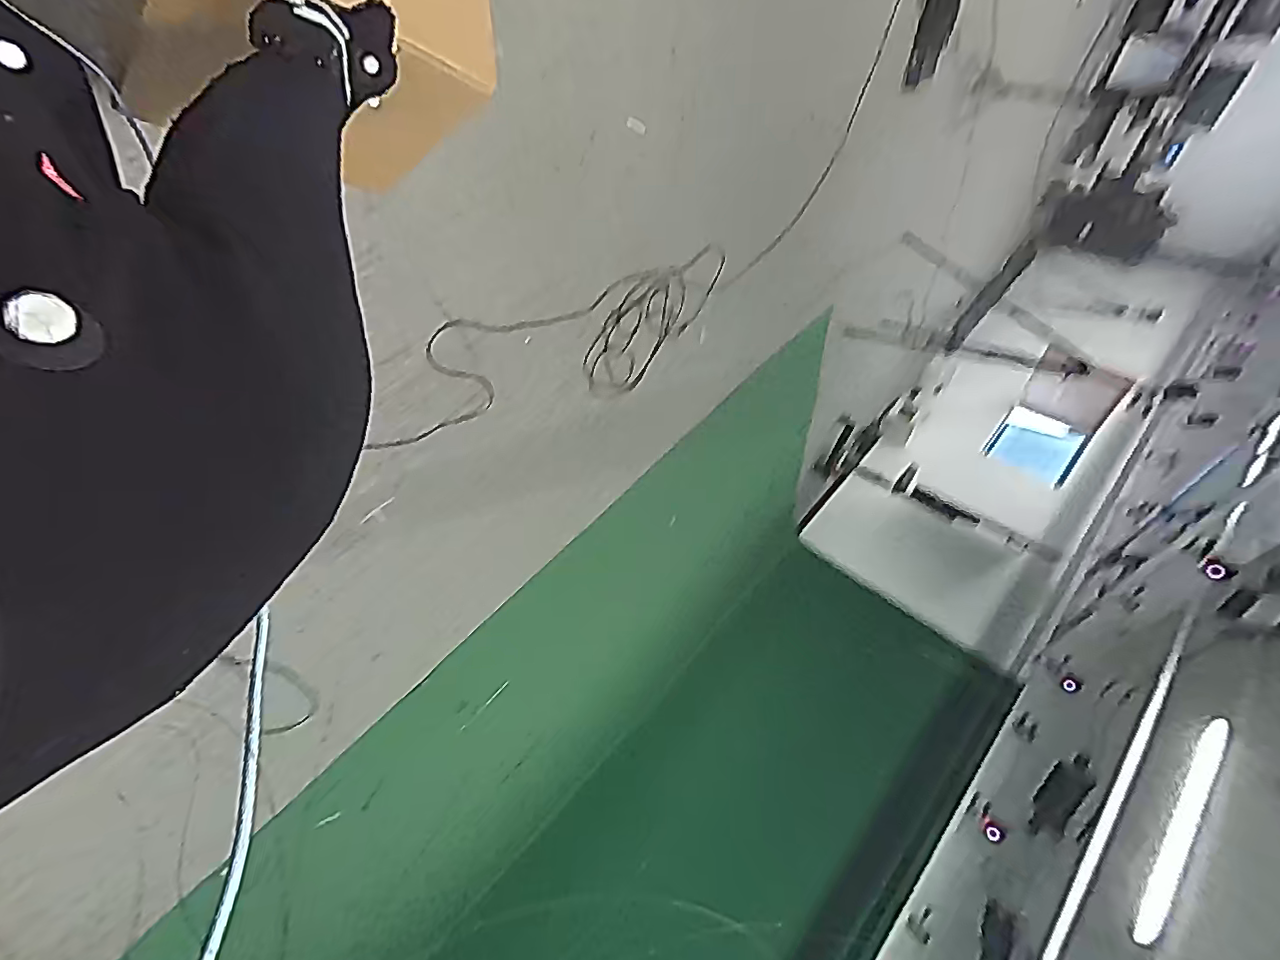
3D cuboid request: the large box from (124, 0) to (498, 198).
[{"bbox_3d":[-0.409,-0.639,0.655,0.320,0.320,0.408,-7,92,-50],"label":"large box"}]
